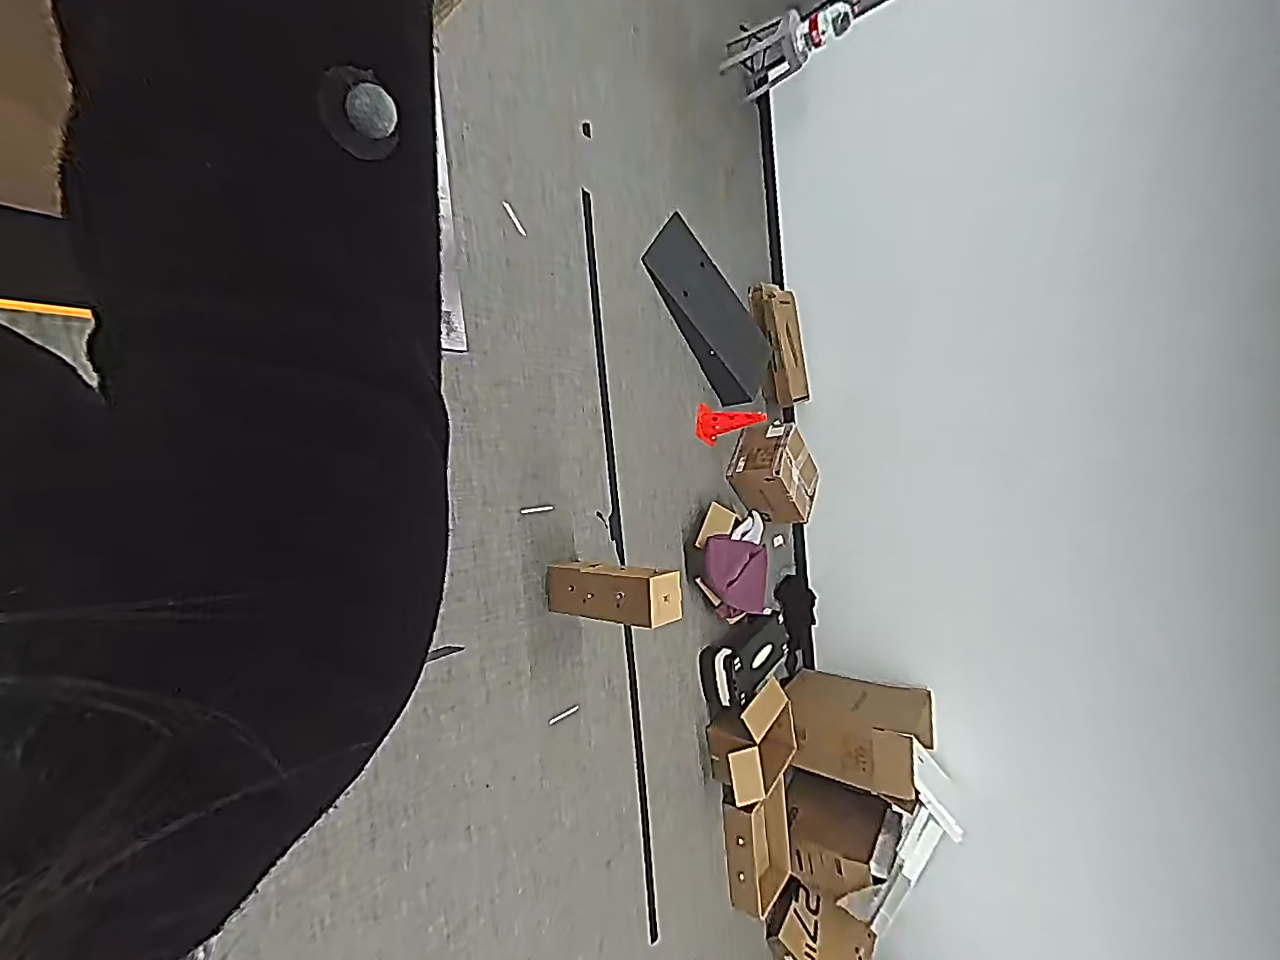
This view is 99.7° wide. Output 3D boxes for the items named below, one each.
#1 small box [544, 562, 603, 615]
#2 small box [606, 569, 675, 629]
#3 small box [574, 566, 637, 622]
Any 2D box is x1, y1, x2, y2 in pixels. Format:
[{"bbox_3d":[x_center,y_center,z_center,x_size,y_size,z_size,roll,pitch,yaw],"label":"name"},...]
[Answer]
[{"bbox_3d":[-0.253,0.406,2.058,0.168,0.176,0.179,0,89,-52],"label":"small box"},{"bbox_3d":[0.001,0.400,1.851,0.179,0.176,0.168,-1,88,-51],"label":"small box"},{"bbox_3d":[-0.119,0.406,1.962,0.179,0.176,0.168,-1,88,-52],"label":"small box"}]
